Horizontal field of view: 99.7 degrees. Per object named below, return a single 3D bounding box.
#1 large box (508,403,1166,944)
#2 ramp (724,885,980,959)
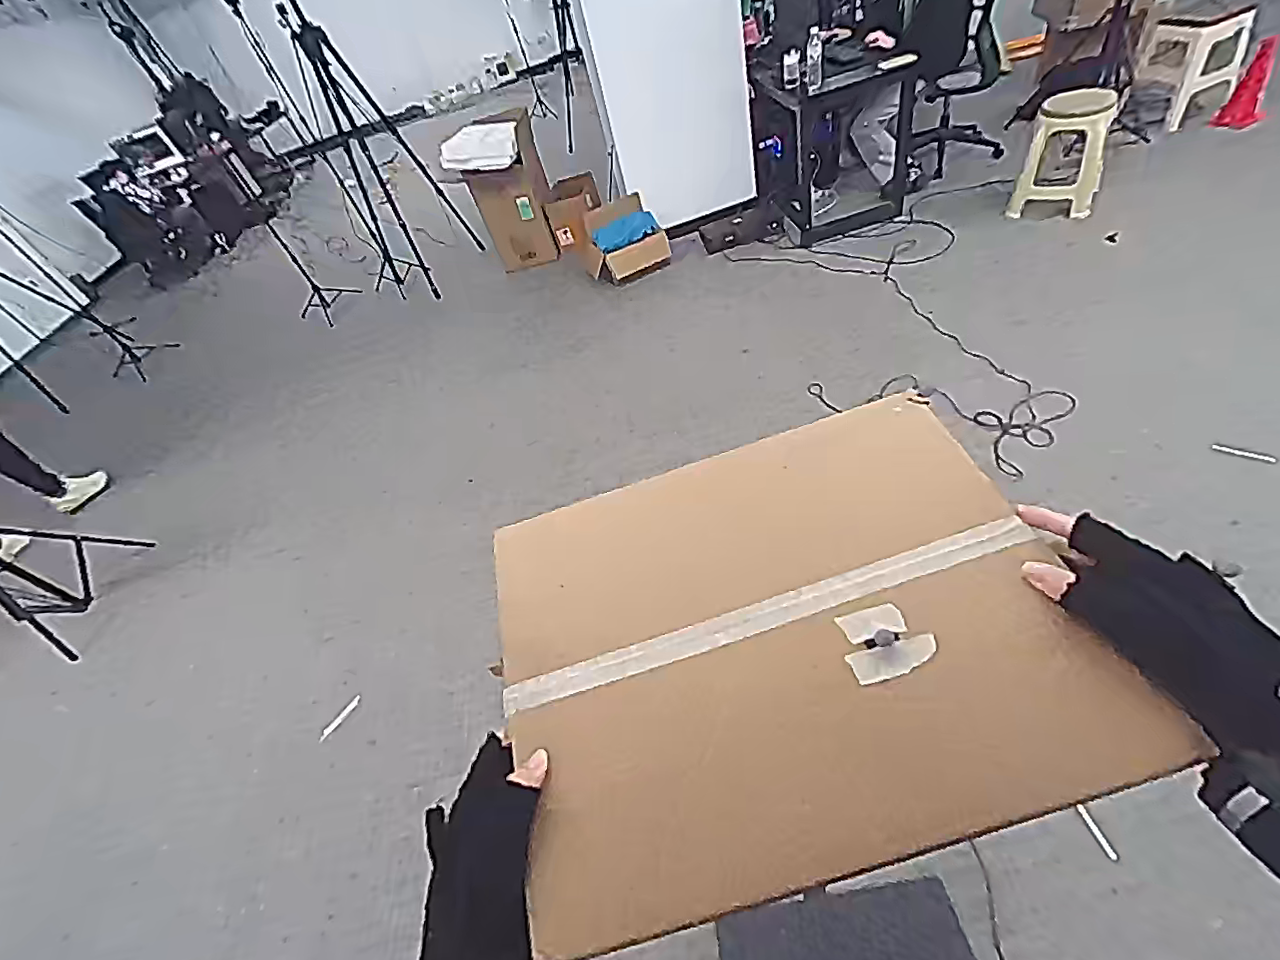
[{"bbox_3d":[0.128,0.191,0.536,0.408,0.320,0.320,-19,53,1],"label":"large box"},{"bbox_3d":[0.445,1.197,0.753,0.509,0.206,0.991,-17,44,5],"label":"ramp"}]
